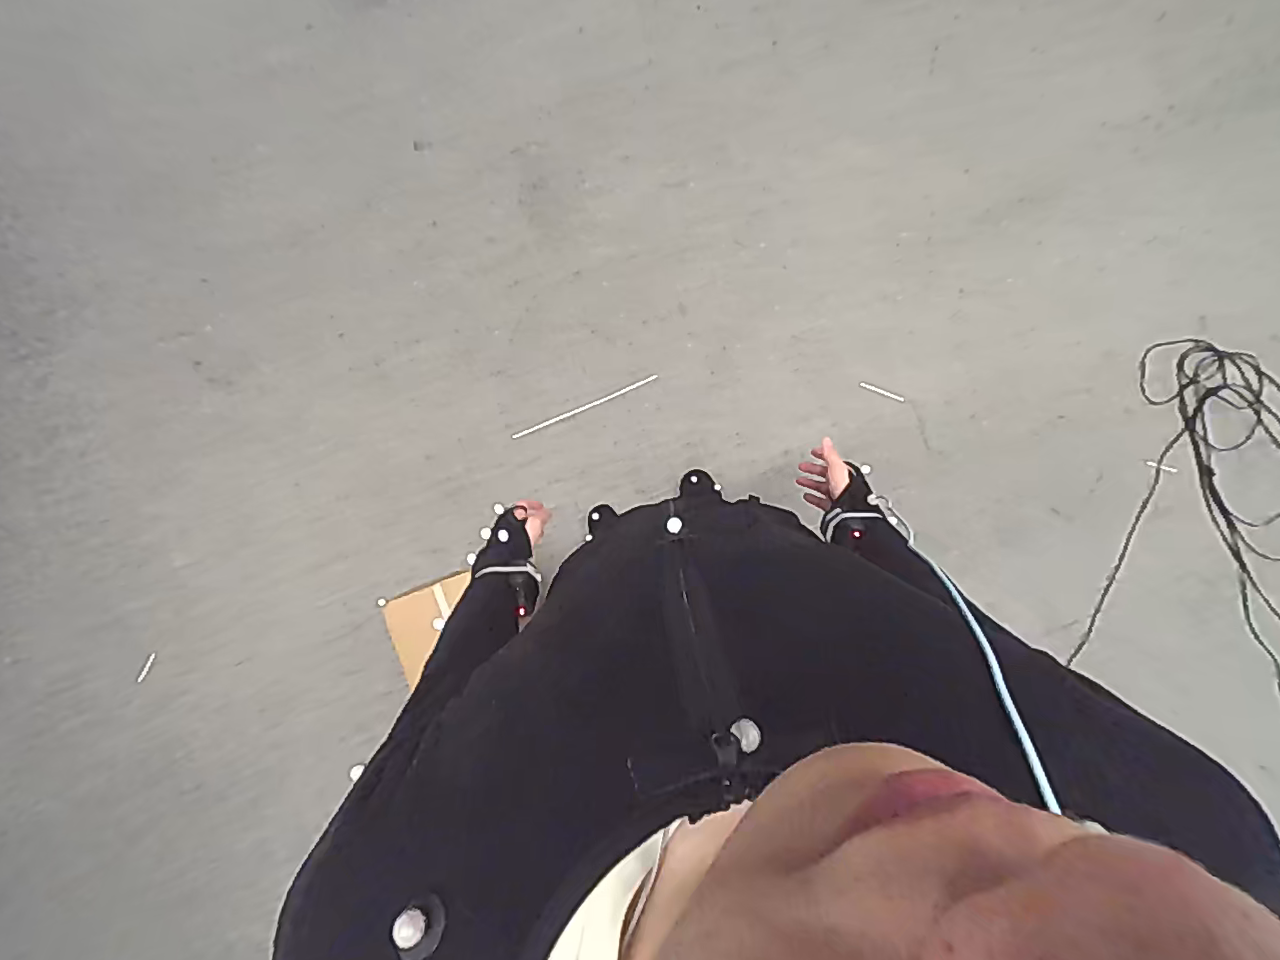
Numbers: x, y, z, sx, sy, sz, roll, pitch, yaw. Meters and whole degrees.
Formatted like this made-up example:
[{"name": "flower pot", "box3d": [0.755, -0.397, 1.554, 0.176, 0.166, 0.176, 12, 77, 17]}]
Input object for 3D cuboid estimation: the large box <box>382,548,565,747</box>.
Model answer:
[{"name": "large box", "box3d": [-0.441, 0.442, 1.515, 0.320, 0.320, 0.408, -21, 89, 0]}]
